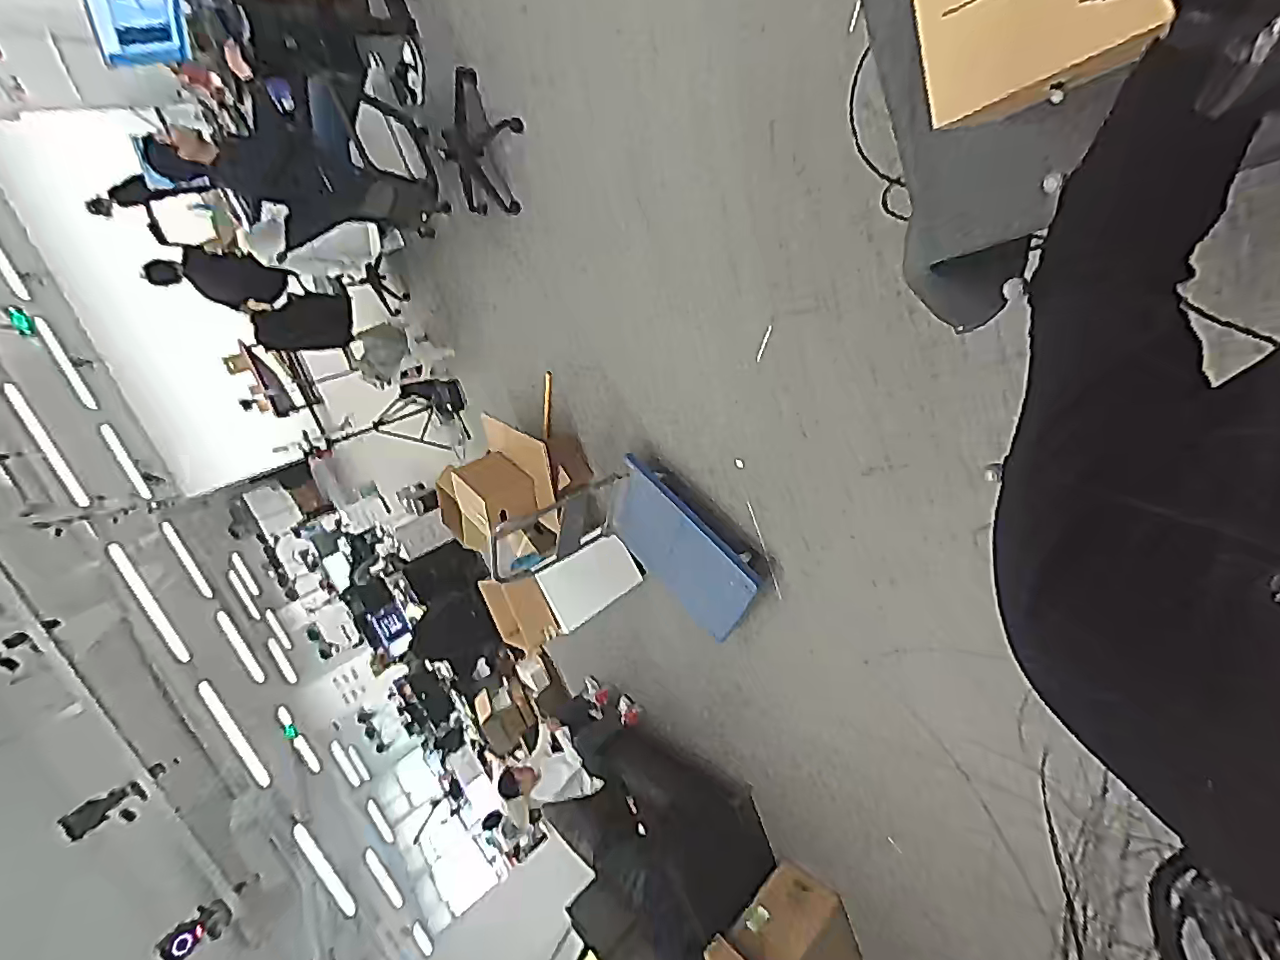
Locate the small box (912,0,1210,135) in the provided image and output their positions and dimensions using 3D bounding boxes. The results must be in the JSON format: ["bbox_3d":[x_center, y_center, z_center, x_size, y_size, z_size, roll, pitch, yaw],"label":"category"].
[{"bbox_3d":[0.369,-0.436,0.475,0.179,0.176,0.168,3,116,53],"label":"small box"}]
